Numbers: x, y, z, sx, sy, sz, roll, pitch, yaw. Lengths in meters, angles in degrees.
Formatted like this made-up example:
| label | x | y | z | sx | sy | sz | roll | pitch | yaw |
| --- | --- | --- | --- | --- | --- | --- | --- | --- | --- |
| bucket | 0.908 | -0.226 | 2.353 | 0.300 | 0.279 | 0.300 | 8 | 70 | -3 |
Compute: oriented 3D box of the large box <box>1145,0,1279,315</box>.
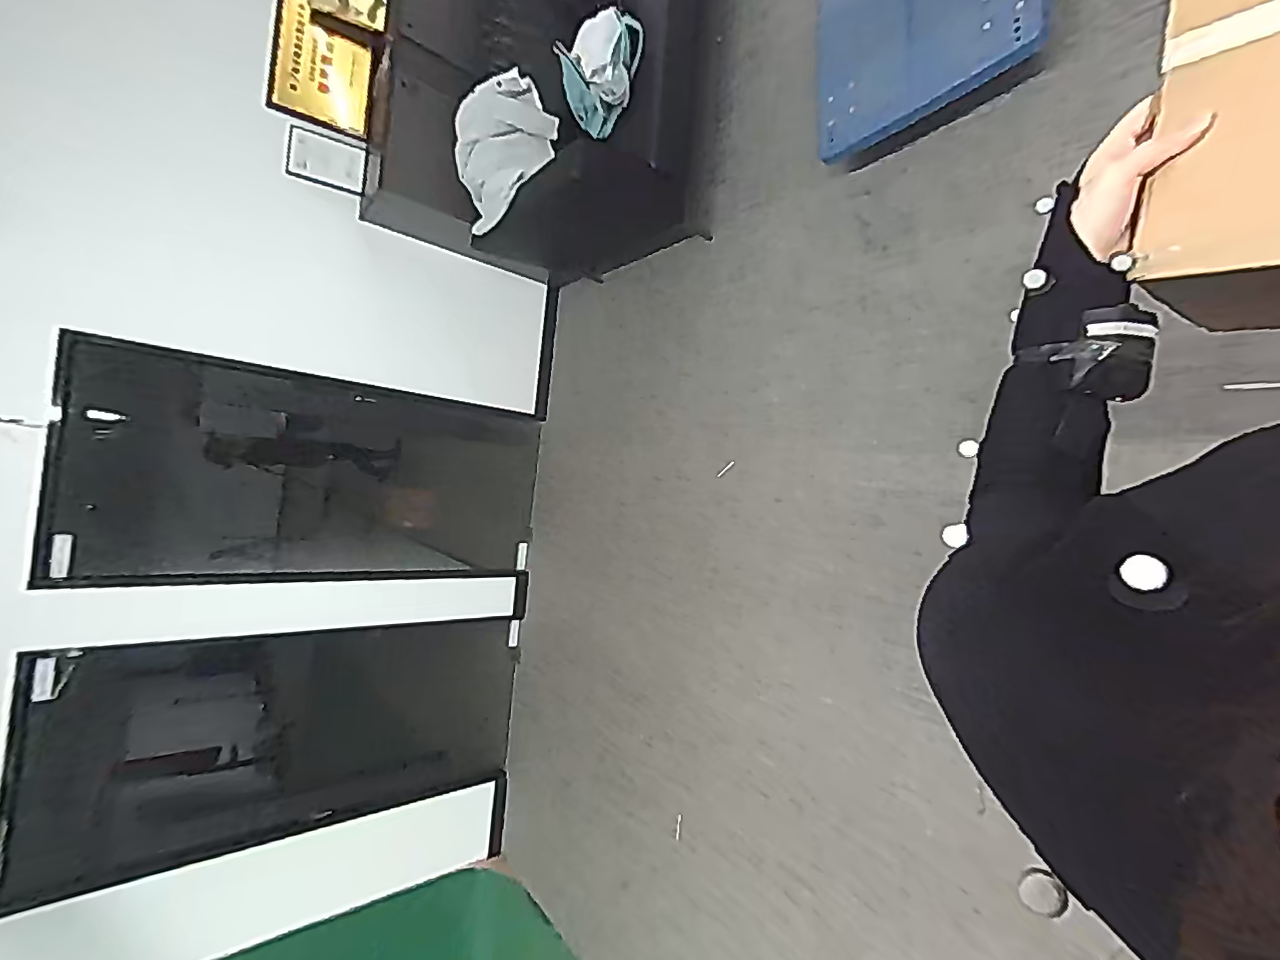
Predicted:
| label | x | y | z | sx | sy | sz | roll | pitch | yaw |
| --- | --- | --- | --- | --- | --- | --- | --- | --- | --- |
| large box | 0.637 | -0.295 | 0.327 | 0.408 | 0.320 | 0.320 | 14 | 103 | 55 |
